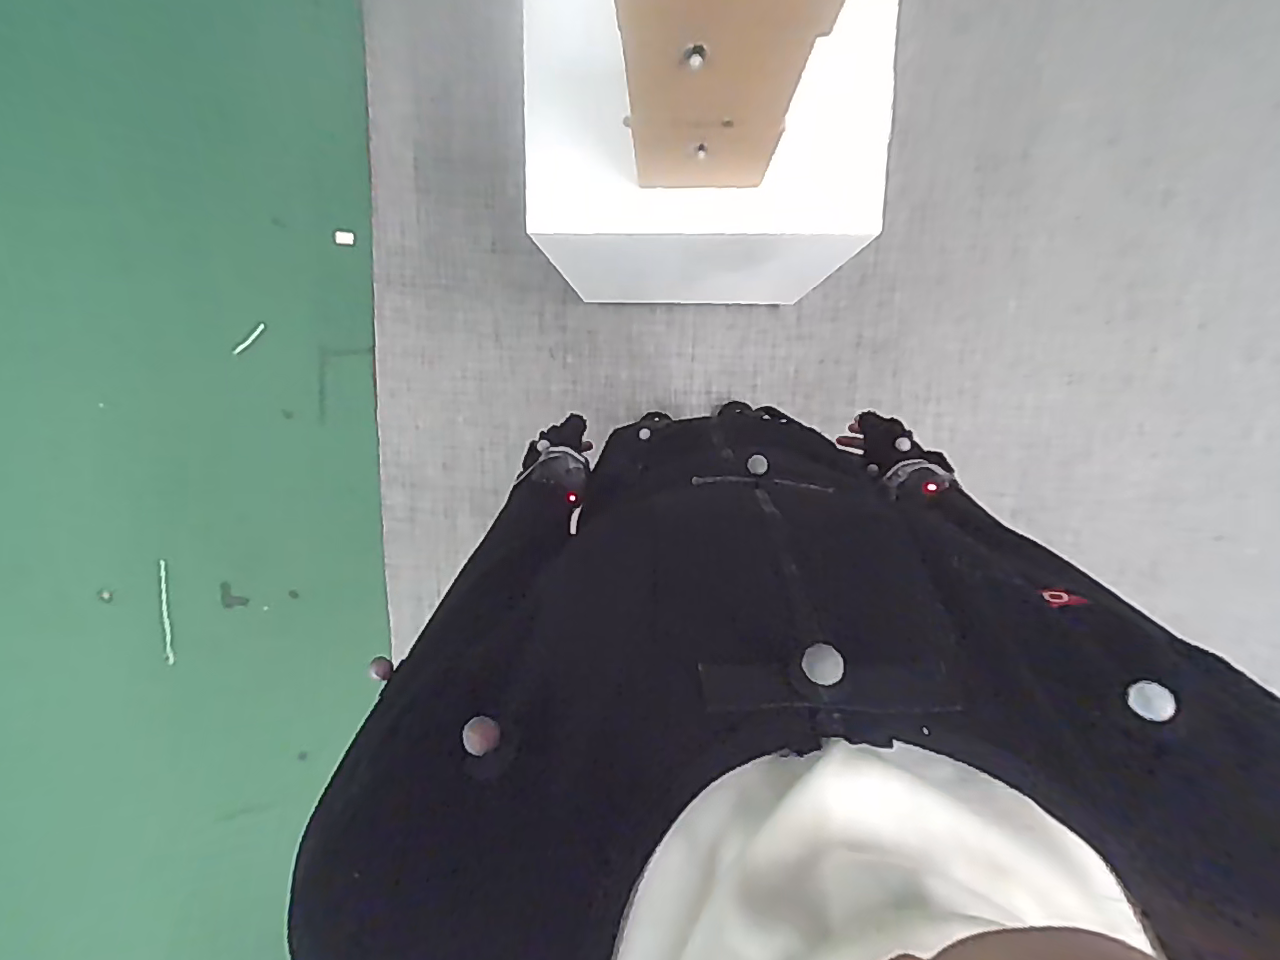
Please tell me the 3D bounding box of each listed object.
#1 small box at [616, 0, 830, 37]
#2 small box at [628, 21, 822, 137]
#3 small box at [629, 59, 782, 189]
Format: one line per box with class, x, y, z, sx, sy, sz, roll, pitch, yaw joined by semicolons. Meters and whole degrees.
small box;0.066;-0.438;0.359;0.179;0.176;0.168;4;99;2
small box;0.073;-0.466;0.524;0.168;0.176;0.179;0;99;2
small box;0.080;-0.485;0.683;0.179;0.176;0.168;1;98;2
